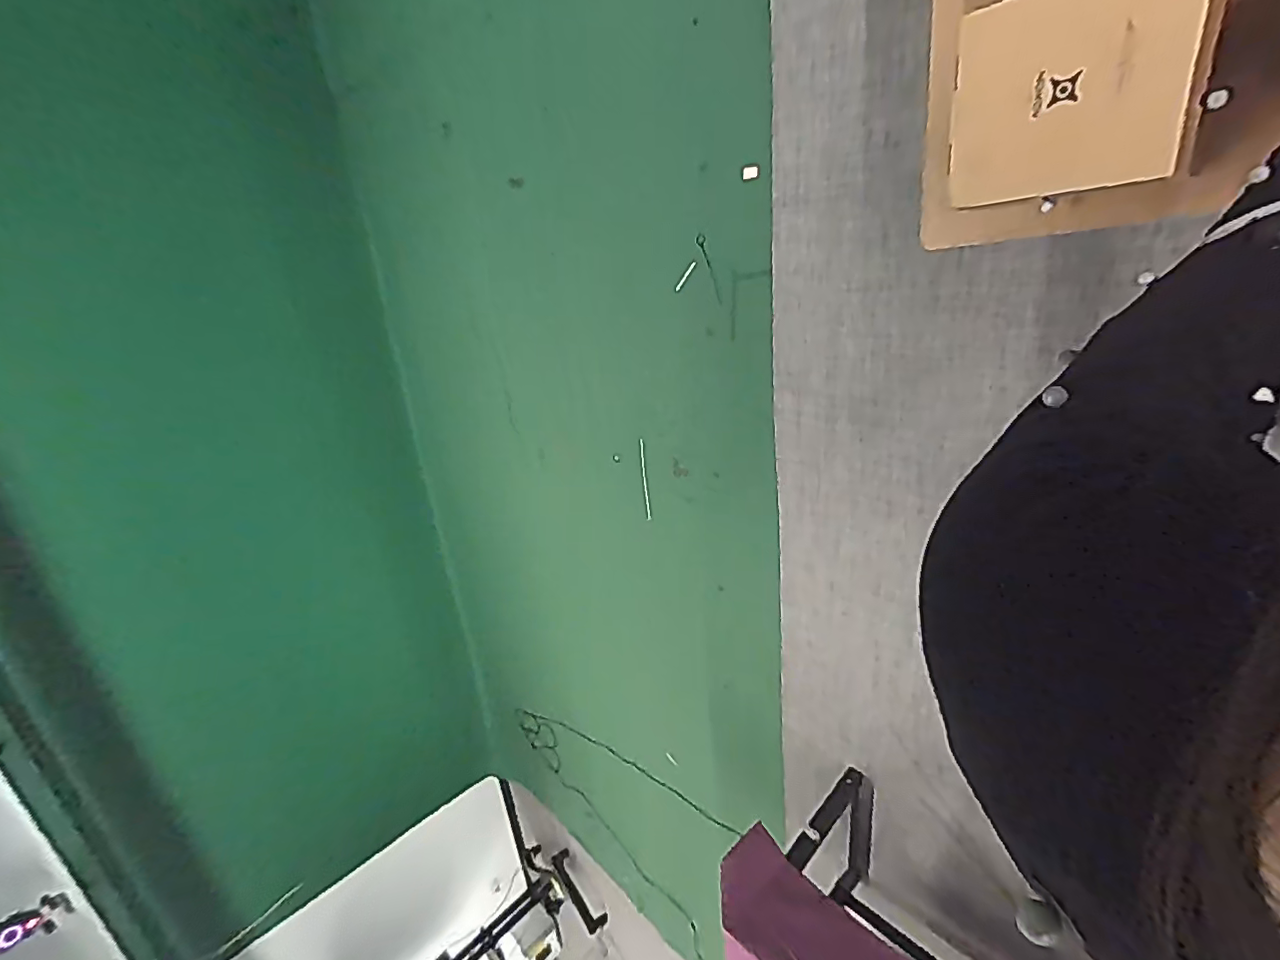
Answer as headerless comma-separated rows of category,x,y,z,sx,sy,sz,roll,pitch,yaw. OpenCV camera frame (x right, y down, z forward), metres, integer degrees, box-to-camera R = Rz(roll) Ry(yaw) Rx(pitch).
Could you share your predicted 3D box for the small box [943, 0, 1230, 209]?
small box,0.429,-0.367,0.530,0.179,0.176,0.168,16,120,44
